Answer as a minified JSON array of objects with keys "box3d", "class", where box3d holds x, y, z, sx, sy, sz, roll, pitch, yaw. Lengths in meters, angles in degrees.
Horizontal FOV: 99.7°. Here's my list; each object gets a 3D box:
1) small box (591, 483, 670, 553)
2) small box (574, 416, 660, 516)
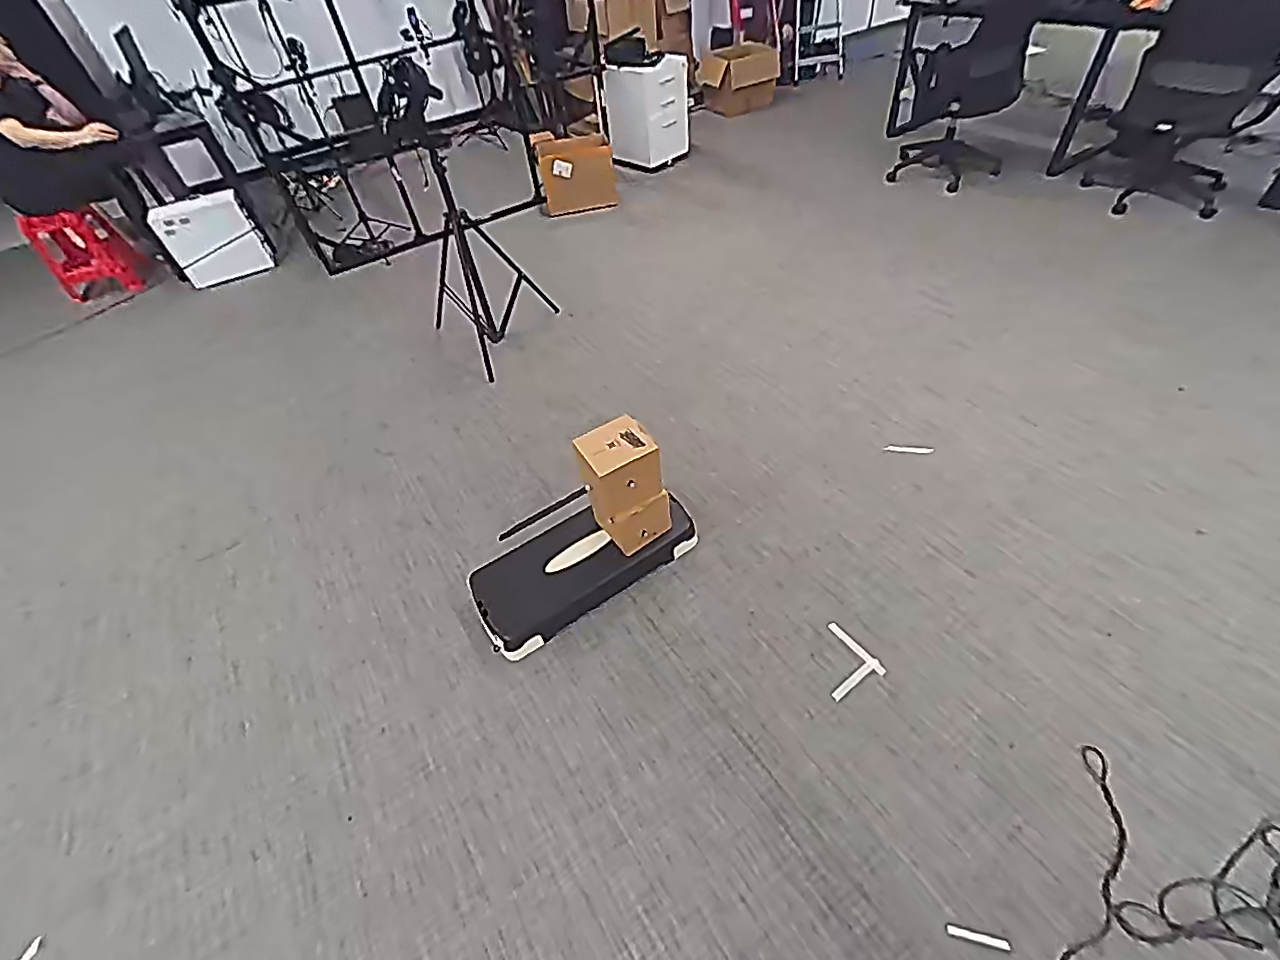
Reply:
[{"box3d":[-0.029,0.078,1.576,0.168,0.176,0.179,-31,52,-20],"class":"small box"},{"box3d":[-0.056,-0.038,1.461,0.179,0.176,0.168,-27,51,-16],"class":"small box"}]
